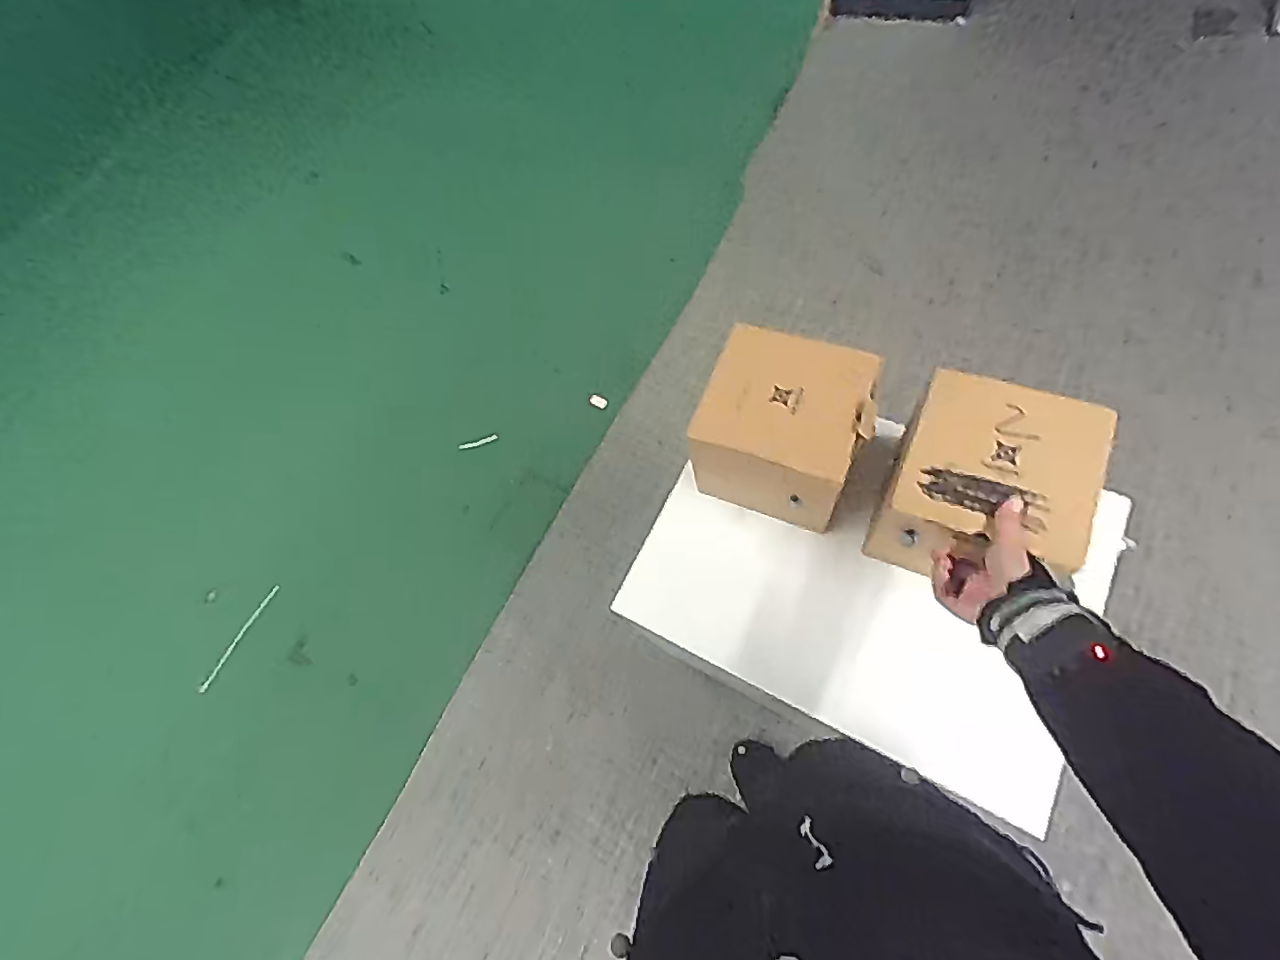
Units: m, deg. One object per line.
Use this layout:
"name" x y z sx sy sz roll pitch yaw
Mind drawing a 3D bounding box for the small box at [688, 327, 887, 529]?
"small box" 0.177 -0.055 0.669 0.179 0.176 0.168 19 70 19
